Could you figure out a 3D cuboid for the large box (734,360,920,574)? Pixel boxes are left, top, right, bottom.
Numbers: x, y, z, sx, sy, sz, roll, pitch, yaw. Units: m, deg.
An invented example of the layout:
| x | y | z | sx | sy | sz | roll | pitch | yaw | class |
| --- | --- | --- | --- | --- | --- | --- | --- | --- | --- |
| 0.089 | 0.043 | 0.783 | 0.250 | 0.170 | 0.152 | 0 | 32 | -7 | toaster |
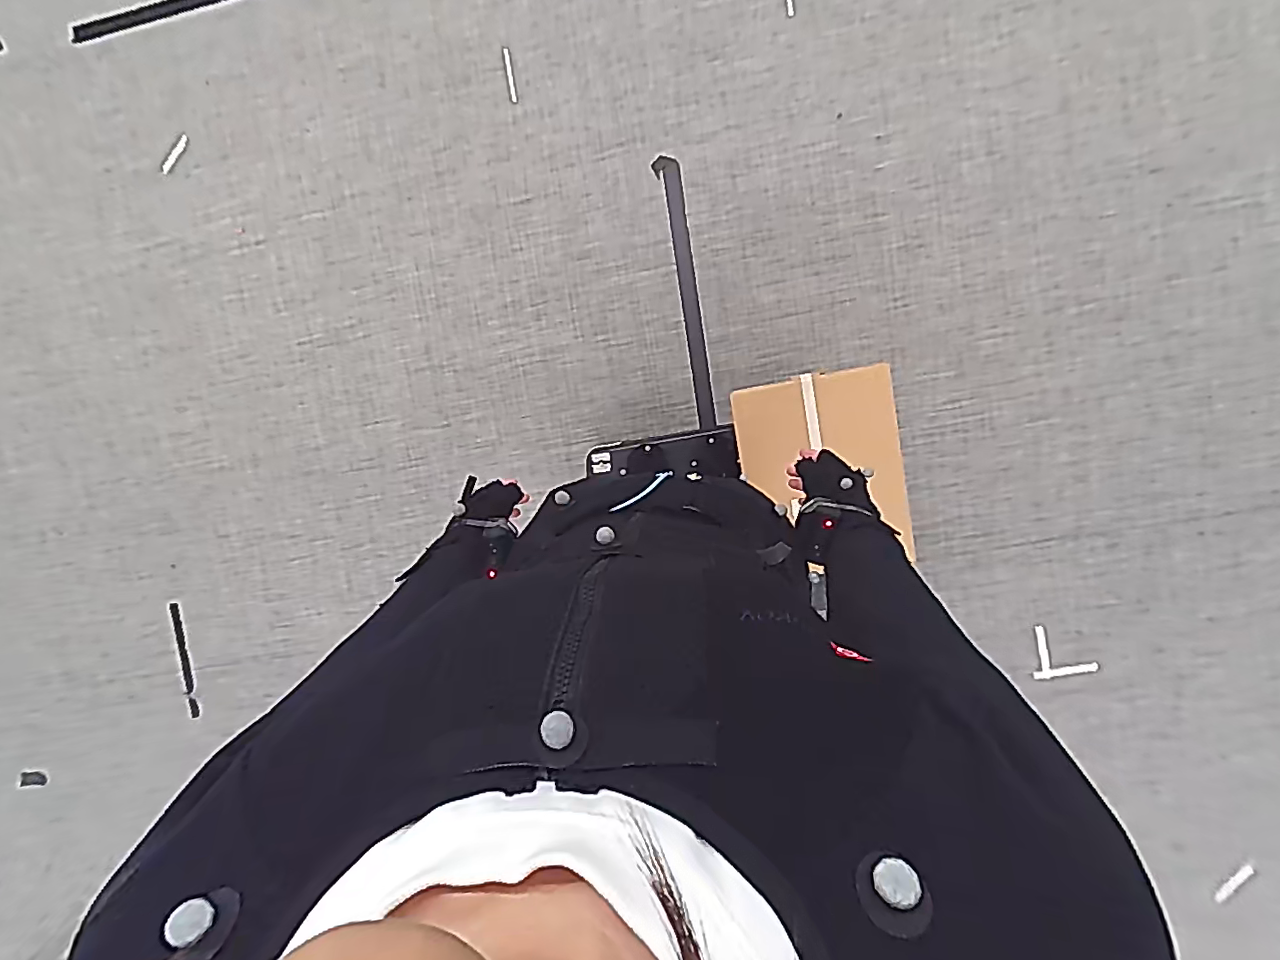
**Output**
| x | y | z | sx | sy | sz | roll | pitch | yaw | class |
| --- | --- | --- | --- | --- | --- | --- | --- | --- | --- |
| 0.409 | -0.037 | 1.245 | 0.320 | 0.320 | 0.408 | -9 | 96 | 14 | large box |
